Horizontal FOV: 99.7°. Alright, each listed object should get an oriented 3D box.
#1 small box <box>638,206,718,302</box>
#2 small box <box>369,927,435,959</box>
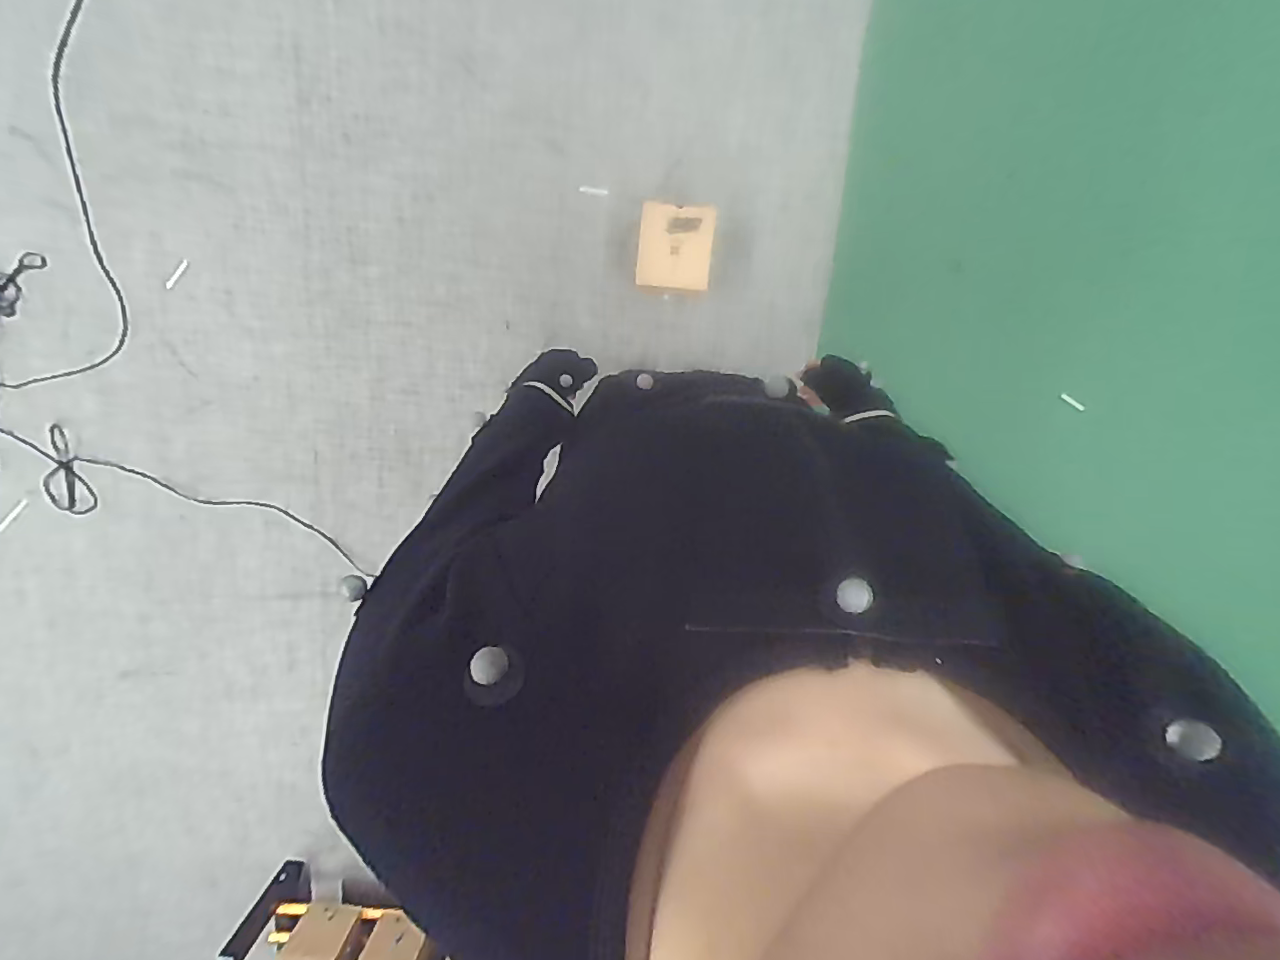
[{"bbox_3d":[0.083,-0.528,1.286,0.168,0.176,0.179,5,103,-1],"label":"small box"},{"bbox_3d":[-0.731,1.498,1.626,0.168,0.176,0.179,5,101,0],"label":"small box"}]
